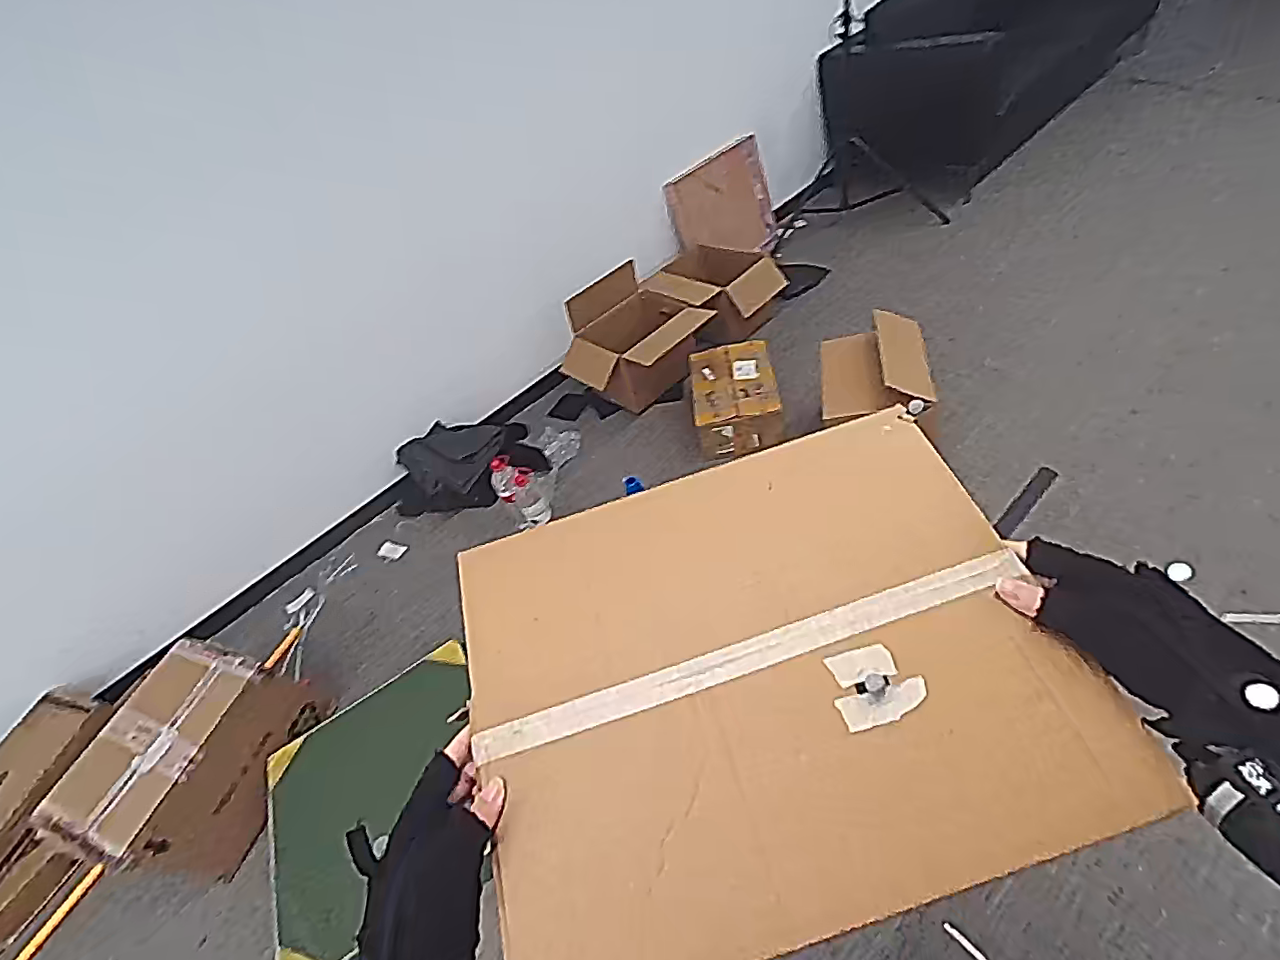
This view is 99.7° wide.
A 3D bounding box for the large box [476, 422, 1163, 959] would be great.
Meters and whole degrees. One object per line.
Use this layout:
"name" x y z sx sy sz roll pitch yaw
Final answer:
"large box" 0.107 0.209 0.521 0.408 0.320 0.320 -19 58 -2
